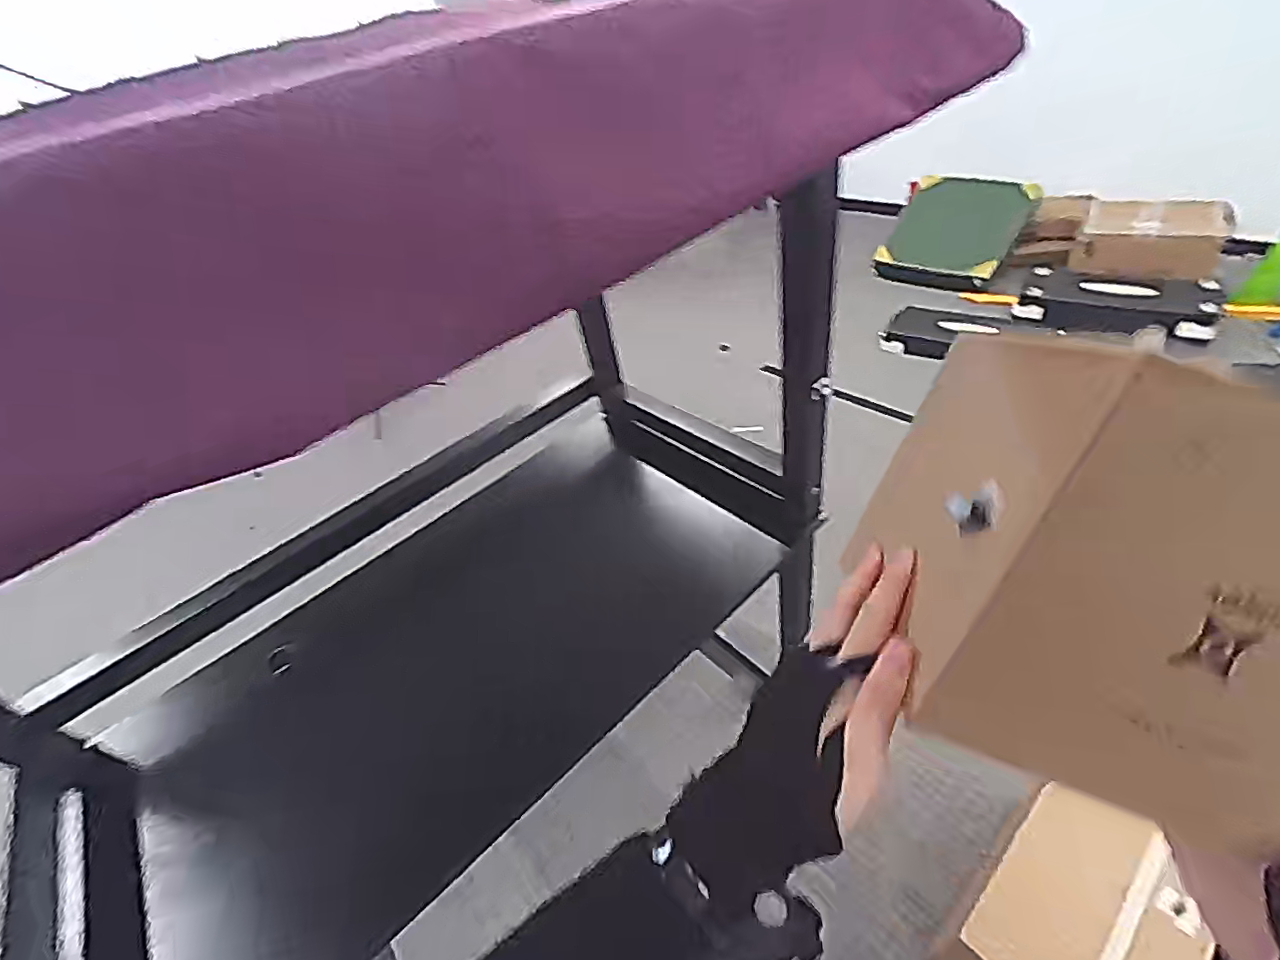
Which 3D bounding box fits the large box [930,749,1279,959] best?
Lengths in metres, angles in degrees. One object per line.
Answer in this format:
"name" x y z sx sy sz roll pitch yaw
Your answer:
"large box" 0.769 0.780 0.932 0.408 0.320 0.320 -36 47 -24
